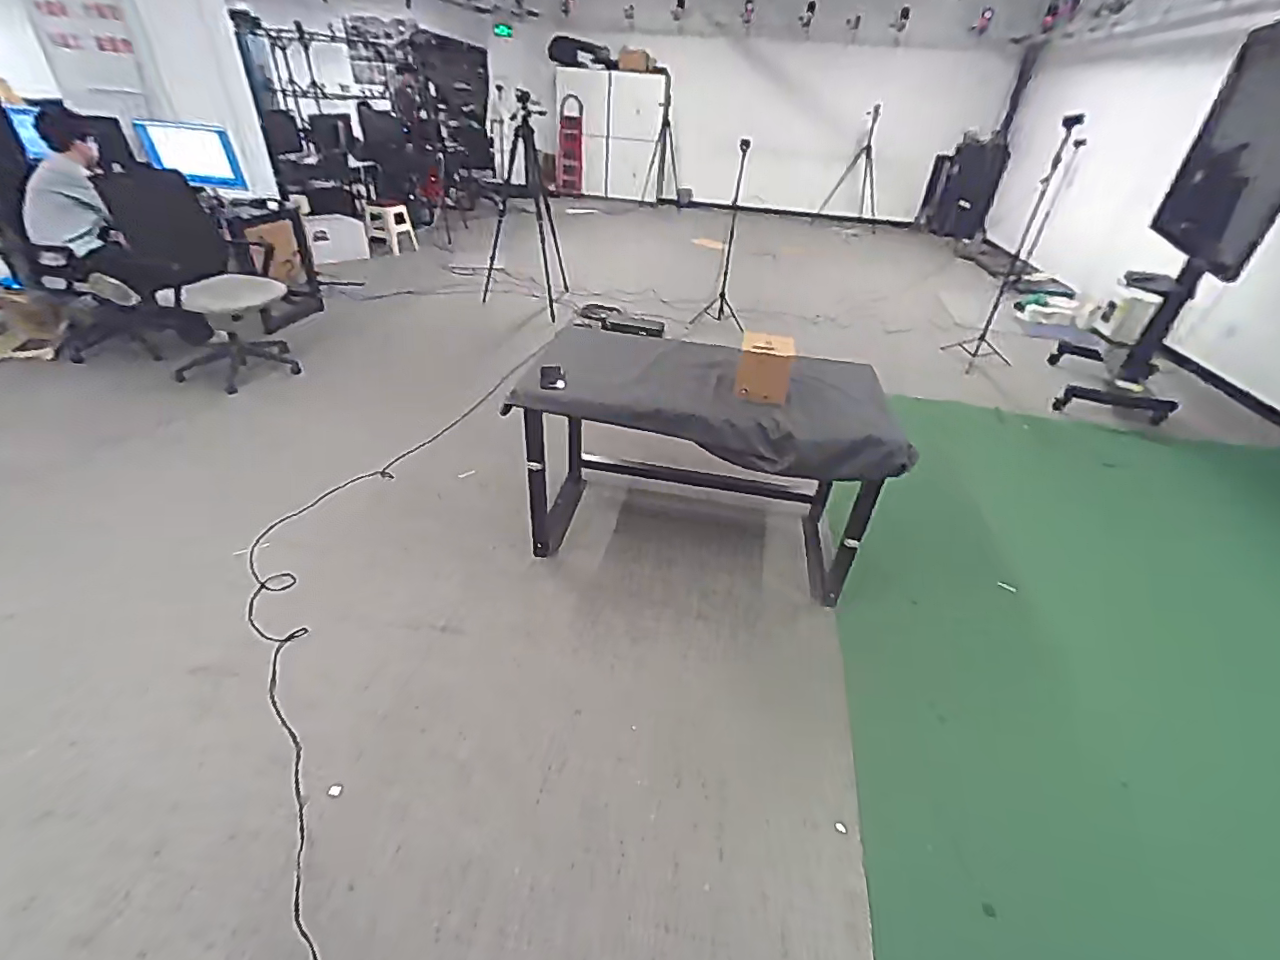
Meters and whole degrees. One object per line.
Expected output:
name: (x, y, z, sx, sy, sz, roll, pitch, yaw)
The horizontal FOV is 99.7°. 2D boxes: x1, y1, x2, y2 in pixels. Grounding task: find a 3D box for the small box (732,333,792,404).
small box: (0.402, -0.367, 1.783, 0.168, 0.176, 0.179, 10, 34, 8)
